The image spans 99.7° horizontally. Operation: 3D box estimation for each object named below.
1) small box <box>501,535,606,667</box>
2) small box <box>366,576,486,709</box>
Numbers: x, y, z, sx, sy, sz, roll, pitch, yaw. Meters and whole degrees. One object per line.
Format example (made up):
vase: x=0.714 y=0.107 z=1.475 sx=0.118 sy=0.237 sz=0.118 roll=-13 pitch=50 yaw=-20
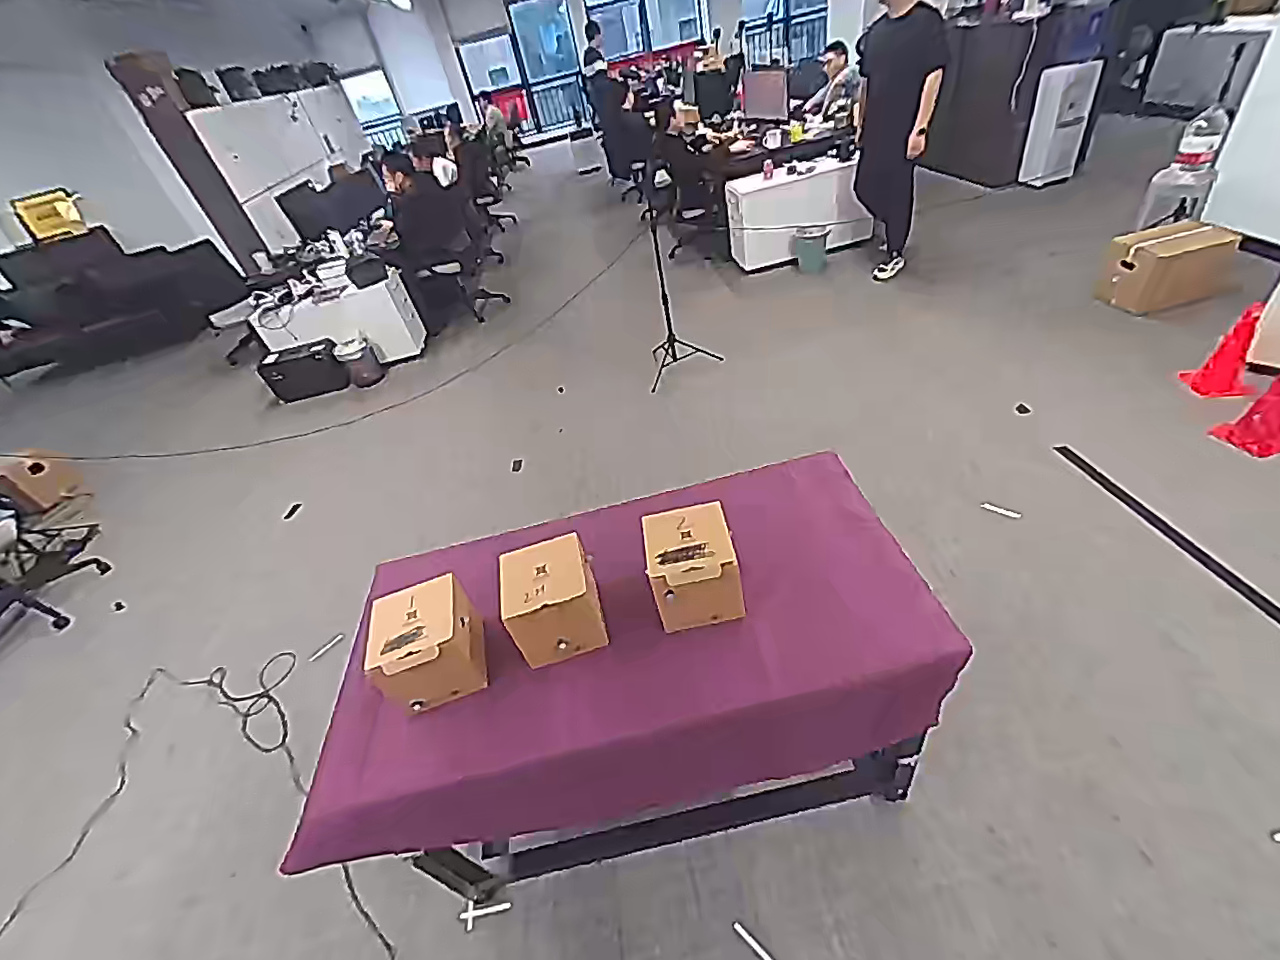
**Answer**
small box: x=-0.177 y=0.247 z=1.106 sx=0.168 sy=0.176 sz=0.179 roll=-18 pitch=40 yaw=-2
small box: x=-0.419 y=0.331 z=1.083 sx=0.168 sy=0.176 sz=0.179 roll=-20 pitch=39 yaw=-6
